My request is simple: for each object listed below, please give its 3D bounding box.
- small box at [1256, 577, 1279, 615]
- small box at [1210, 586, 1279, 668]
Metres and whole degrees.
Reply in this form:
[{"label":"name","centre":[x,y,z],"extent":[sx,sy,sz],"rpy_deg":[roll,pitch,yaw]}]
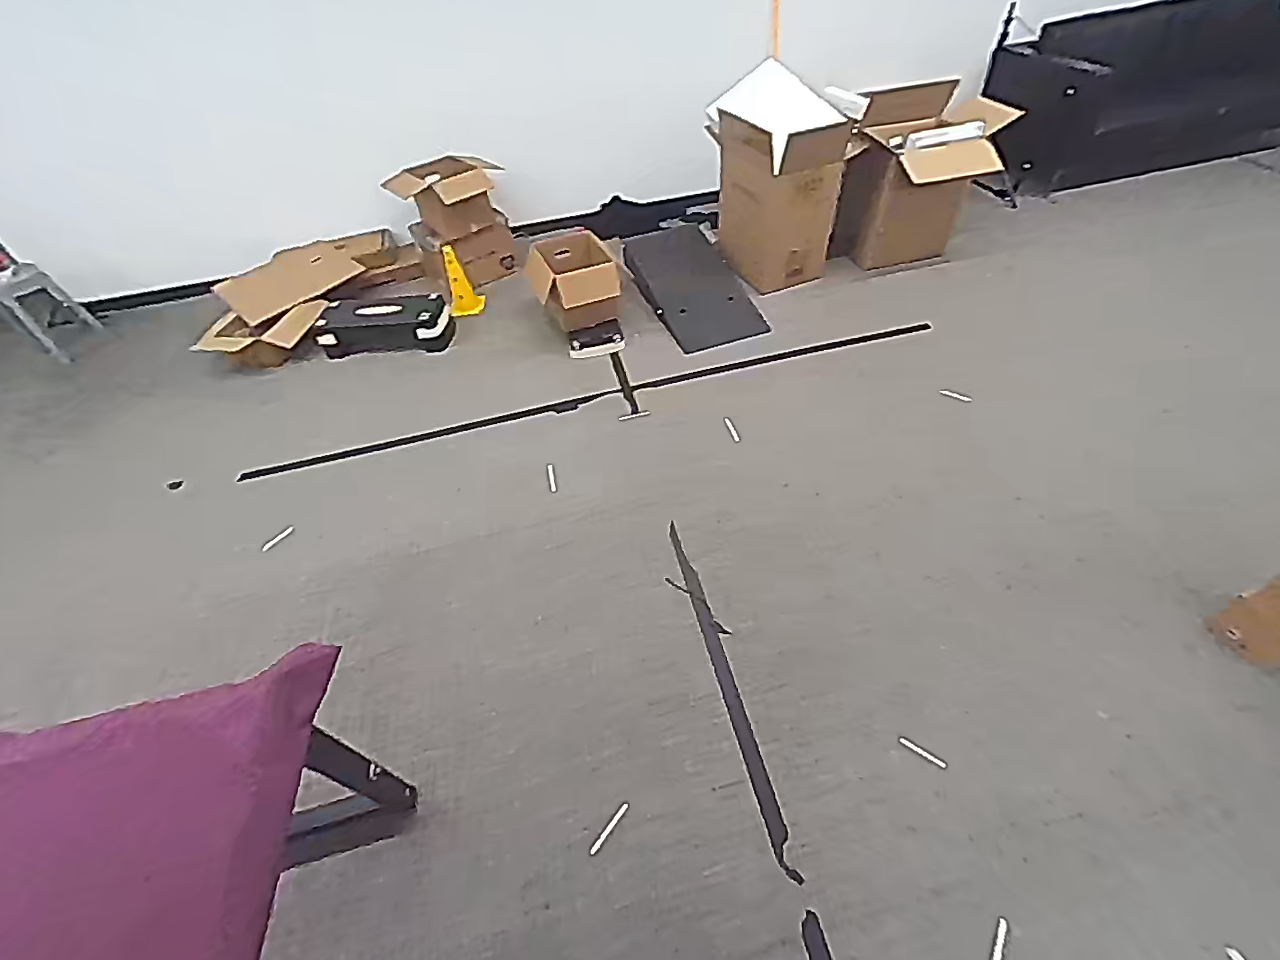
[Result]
[{"label":"small box","centre":[1.805,0.305,1.408],"extent":[0.168,0.176,0.179],"rpy_deg":[-17,48,-9]},{"label":"small box","centre":[1.811,0.407,1.537],"extent":[0.179,0.176,0.168],"rpy_deg":[-16,48,-8]}]
